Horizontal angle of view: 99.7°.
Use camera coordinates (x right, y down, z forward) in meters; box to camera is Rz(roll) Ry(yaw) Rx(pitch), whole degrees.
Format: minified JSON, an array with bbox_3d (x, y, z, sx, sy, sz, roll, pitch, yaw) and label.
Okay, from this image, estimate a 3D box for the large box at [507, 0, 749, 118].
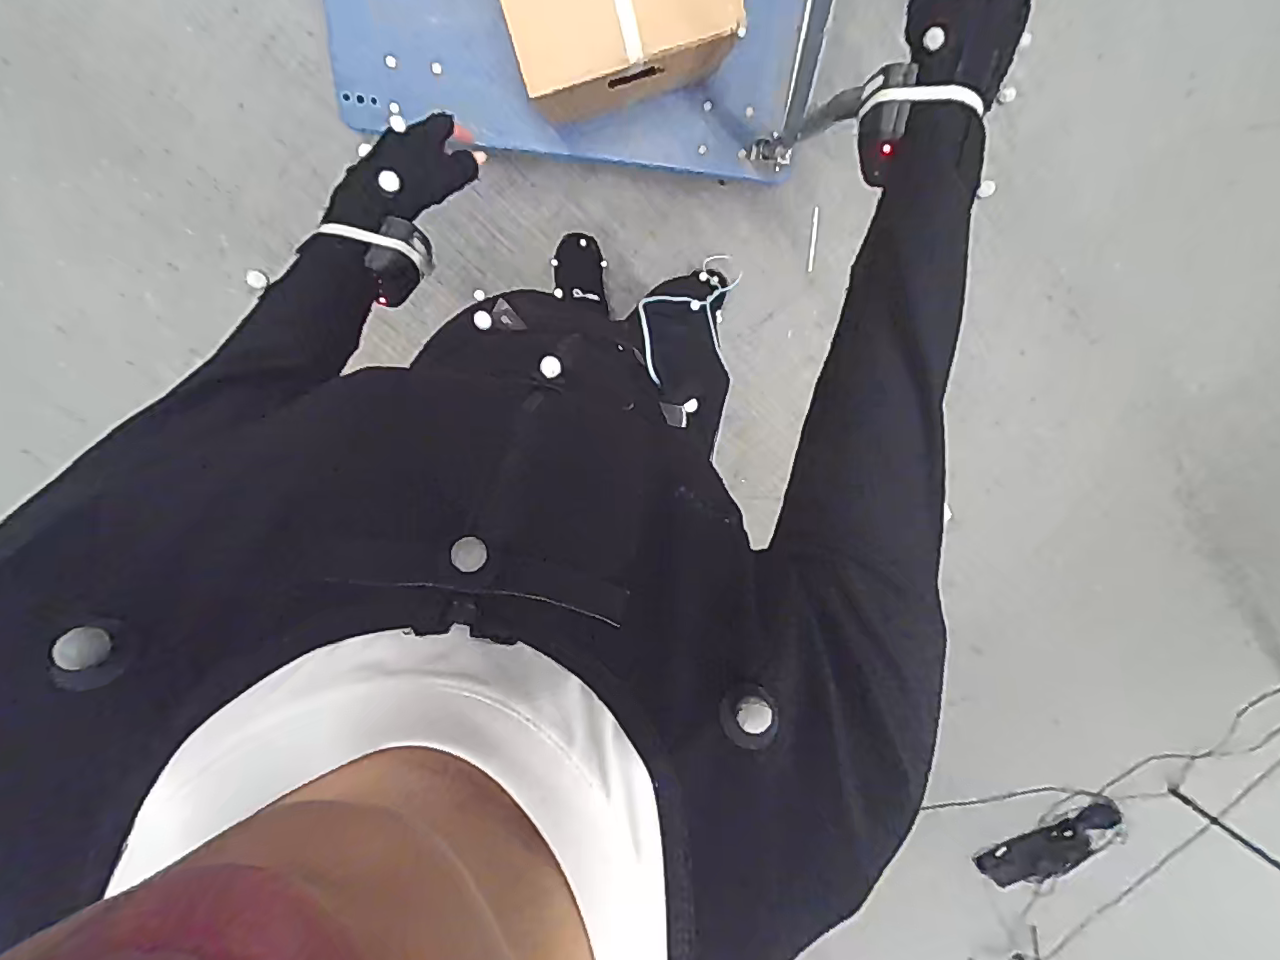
[{"bbox_3d":[-0.060,-0.822,0.790,0.320,0.320,0.408,-15,117,6],"label":"large box"}]
